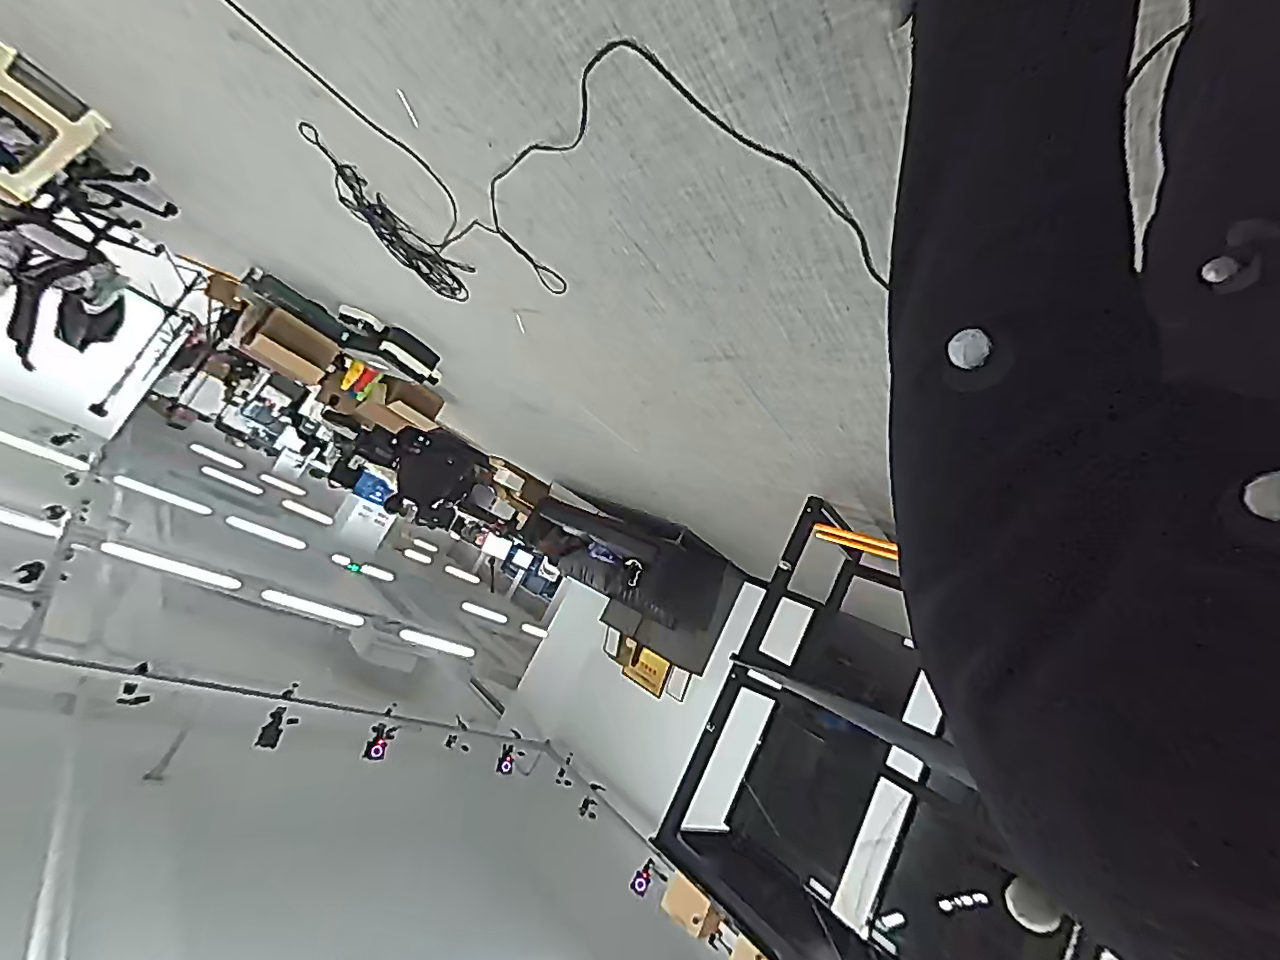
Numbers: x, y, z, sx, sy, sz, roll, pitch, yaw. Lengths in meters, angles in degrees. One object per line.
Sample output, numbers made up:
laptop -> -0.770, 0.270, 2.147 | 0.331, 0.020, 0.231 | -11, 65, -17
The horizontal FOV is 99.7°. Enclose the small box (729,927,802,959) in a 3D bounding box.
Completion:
small box -> 0.401, 1.575, 1.728 | 0.179, 0.176, 0.168 | 37, 166, -37
